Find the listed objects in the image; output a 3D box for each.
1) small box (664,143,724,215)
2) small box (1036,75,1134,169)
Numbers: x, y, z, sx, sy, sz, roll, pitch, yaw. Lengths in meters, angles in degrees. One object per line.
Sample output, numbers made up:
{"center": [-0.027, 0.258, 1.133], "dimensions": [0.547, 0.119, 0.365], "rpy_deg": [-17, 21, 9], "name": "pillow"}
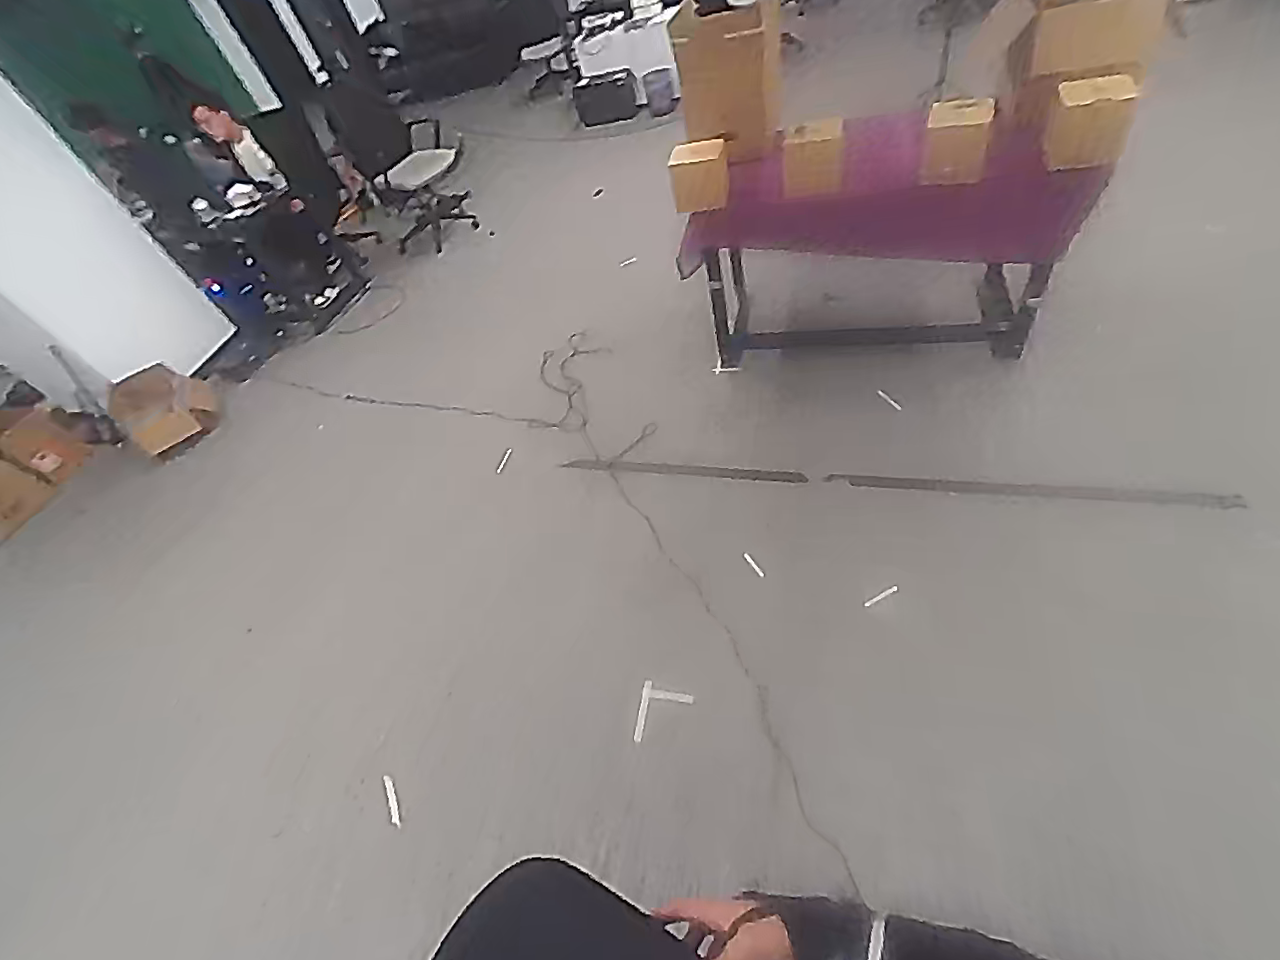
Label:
{"center": [0.195, -1.054, 1.904], "dimensions": [0.179, 0.176, 0.168], "rpy_deg": [1, 51, 17], "name": "small box"}
{"center": [1.251, -1.011, 1.535], "dimensions": [0.168, 0.176, 0.179], "rpy_deg": [6, 53, 23], "name": "small box"}
